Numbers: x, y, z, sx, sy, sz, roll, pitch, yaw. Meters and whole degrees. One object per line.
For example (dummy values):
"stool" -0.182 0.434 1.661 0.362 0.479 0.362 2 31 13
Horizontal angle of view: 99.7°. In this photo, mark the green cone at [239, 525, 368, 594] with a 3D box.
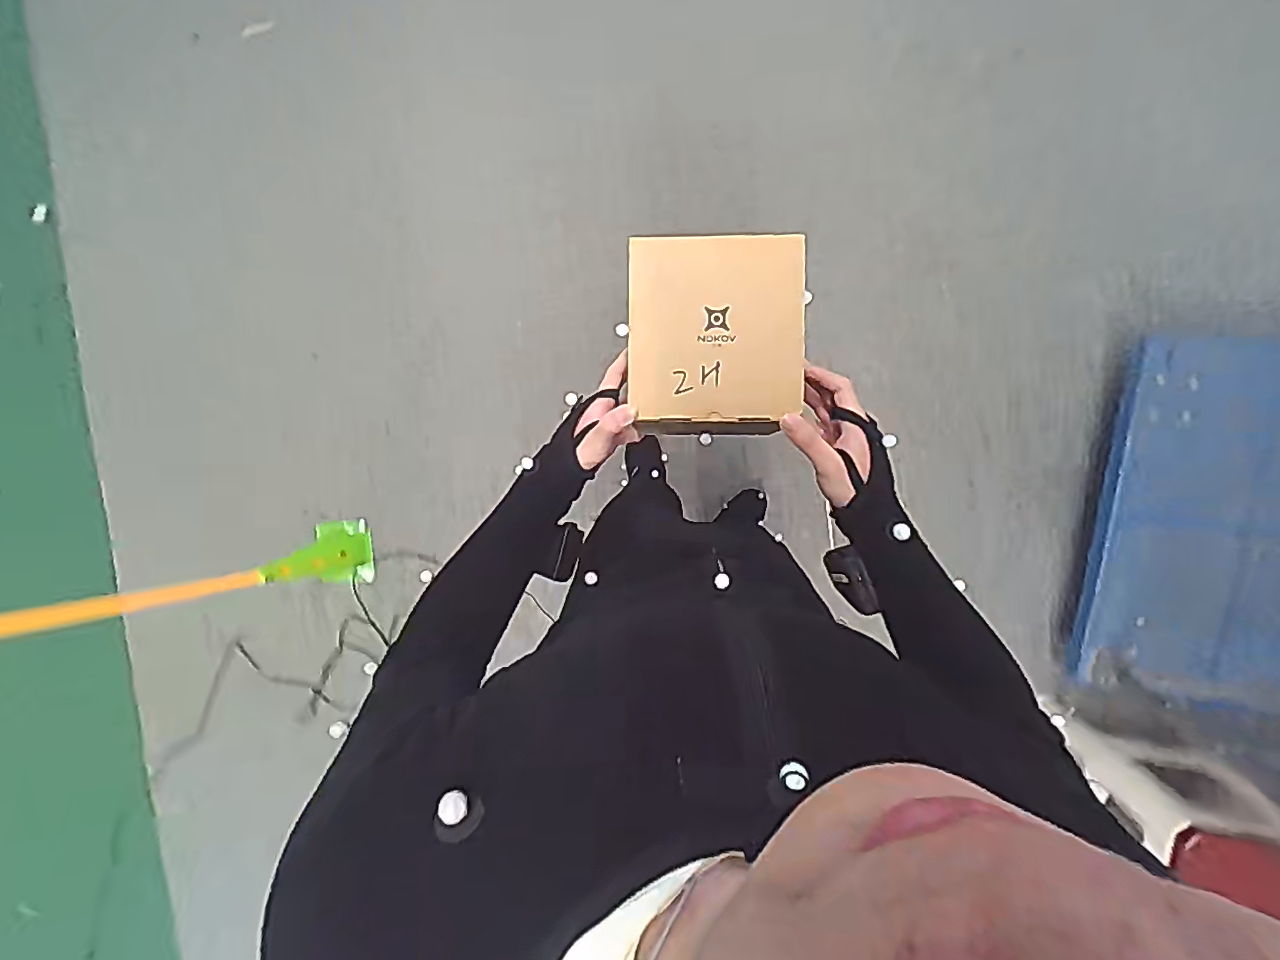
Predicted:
"green cone" -1.021 0.263 1.607 0.200 0.368 0.202 -4 94 9
